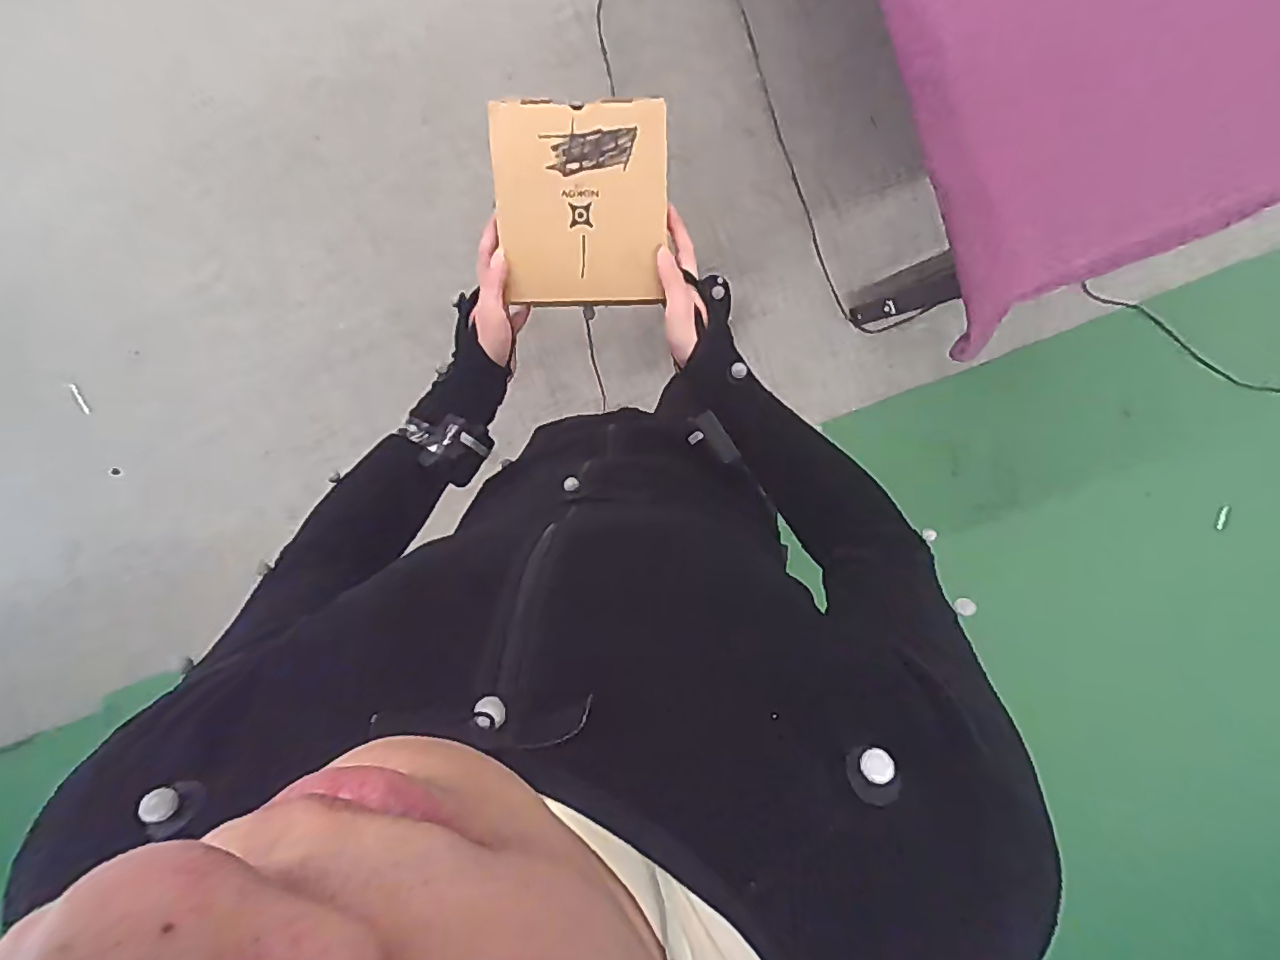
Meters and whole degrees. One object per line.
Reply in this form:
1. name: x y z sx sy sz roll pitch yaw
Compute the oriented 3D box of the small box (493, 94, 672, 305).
1. small box: -0.054 -0.286 0.588 0.168 0.176 0.179 -1 107 0
